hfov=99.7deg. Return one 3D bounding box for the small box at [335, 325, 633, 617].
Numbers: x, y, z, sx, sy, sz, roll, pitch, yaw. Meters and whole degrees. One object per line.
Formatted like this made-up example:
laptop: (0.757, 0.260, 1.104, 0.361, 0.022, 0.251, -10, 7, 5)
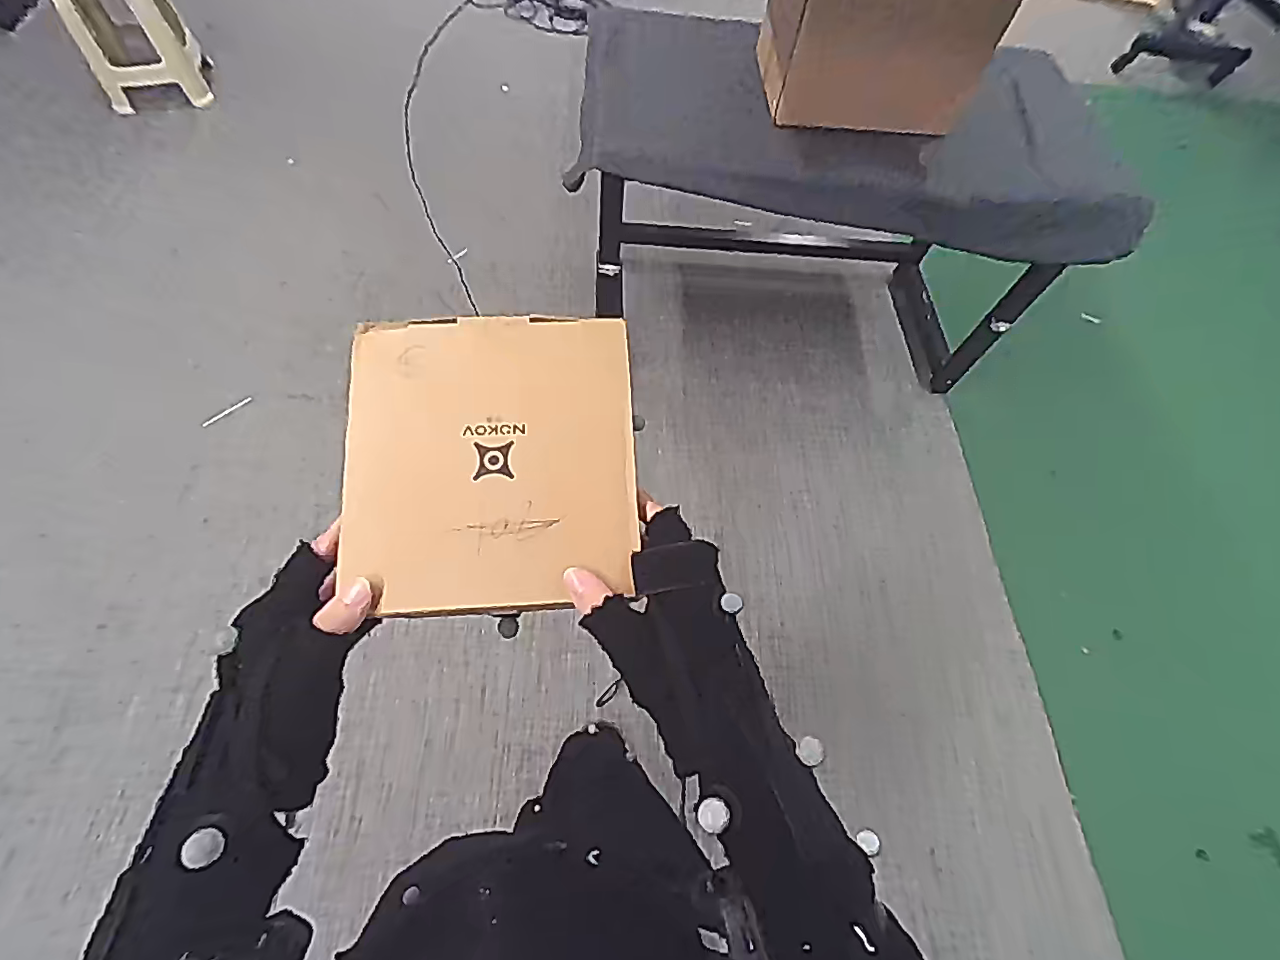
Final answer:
small box: (-0.095, 0.006, 0.399, 0.168, 0.176, 0.179, -2, 75, -5)
